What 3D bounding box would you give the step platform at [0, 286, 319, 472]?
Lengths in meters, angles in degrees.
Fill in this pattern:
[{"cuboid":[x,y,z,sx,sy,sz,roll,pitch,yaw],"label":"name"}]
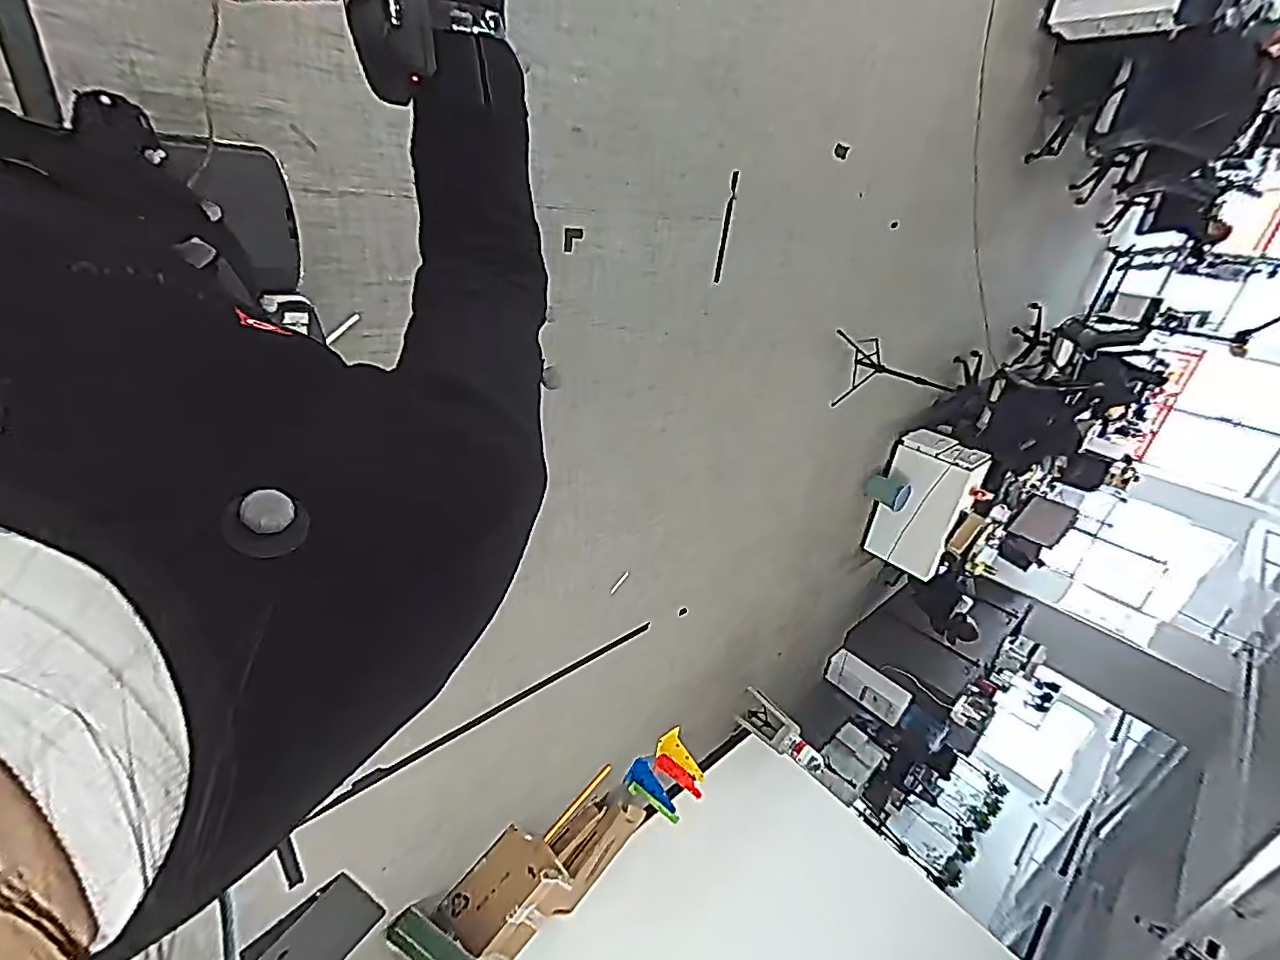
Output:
[{"cuboid":[-1.036,-0.214,1.075,0.684,0.204,0.286,-17,125,-36],"label":"step platform"}]
